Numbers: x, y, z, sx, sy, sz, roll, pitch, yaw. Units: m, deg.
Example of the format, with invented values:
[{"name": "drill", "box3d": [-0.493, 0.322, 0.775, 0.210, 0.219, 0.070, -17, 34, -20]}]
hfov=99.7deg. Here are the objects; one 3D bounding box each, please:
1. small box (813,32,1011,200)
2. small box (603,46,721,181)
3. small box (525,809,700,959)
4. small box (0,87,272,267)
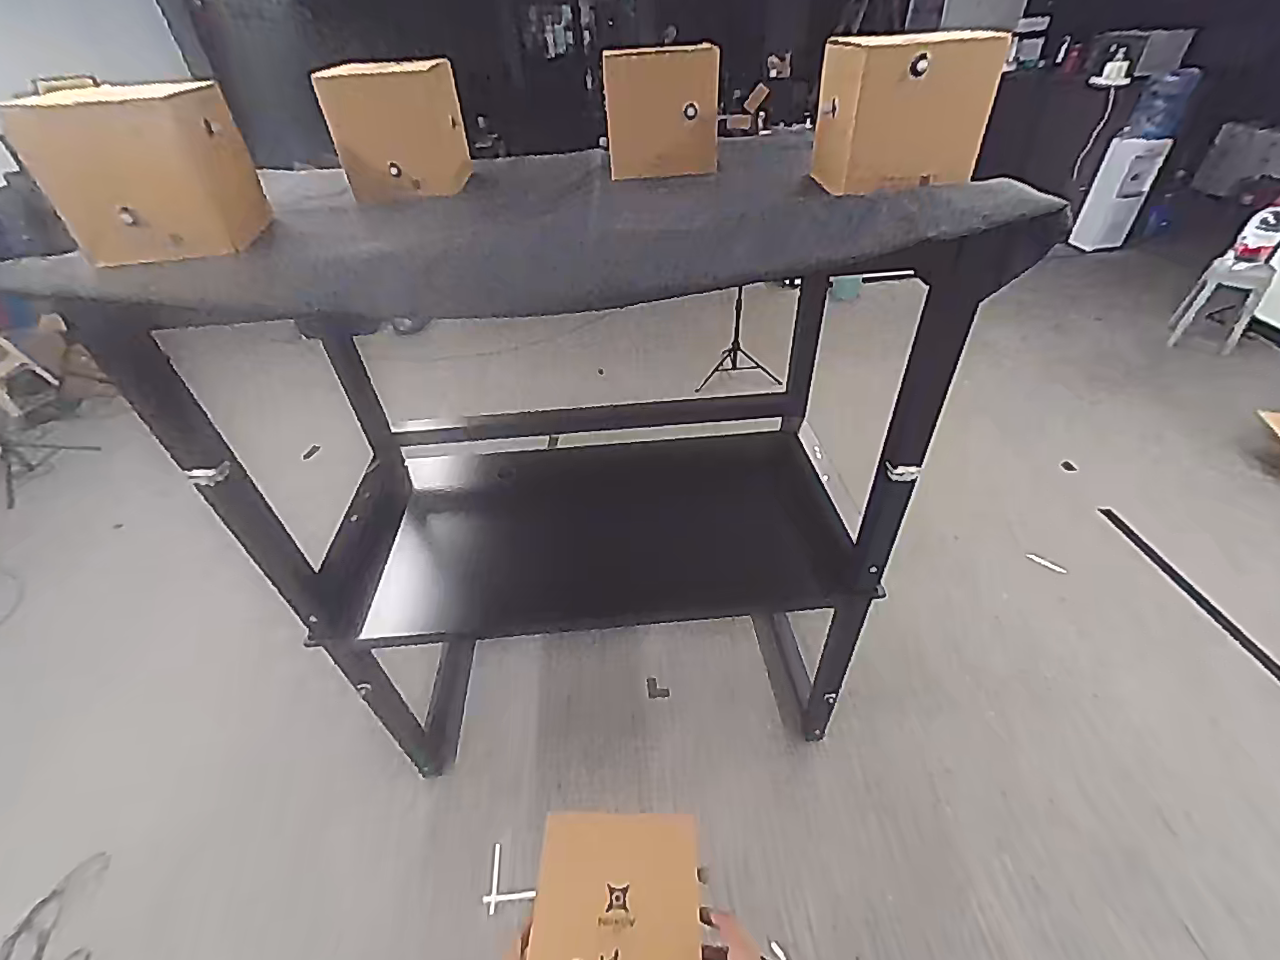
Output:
[{"name": "small box", "box3d": [0.342, -0.485, 0.726, 0.168, 0.176, 0.179, -3, 39, 2]}, {"name": "small box", "box3d": [0.033, -0.613, 0.905, 0.179, 0.176, 0.168, -3, 40, 0]}, {"name": "small box", "box3d": [-0.024, 0.484, 0.579, 0.168, 0.176, 0.179, 0, 39, 2]}, {"name": "small box", "box3d": [-0.607, -0.386, 0.687, 0.168, 0.176, 0.179, -10, 42, -9]}]
